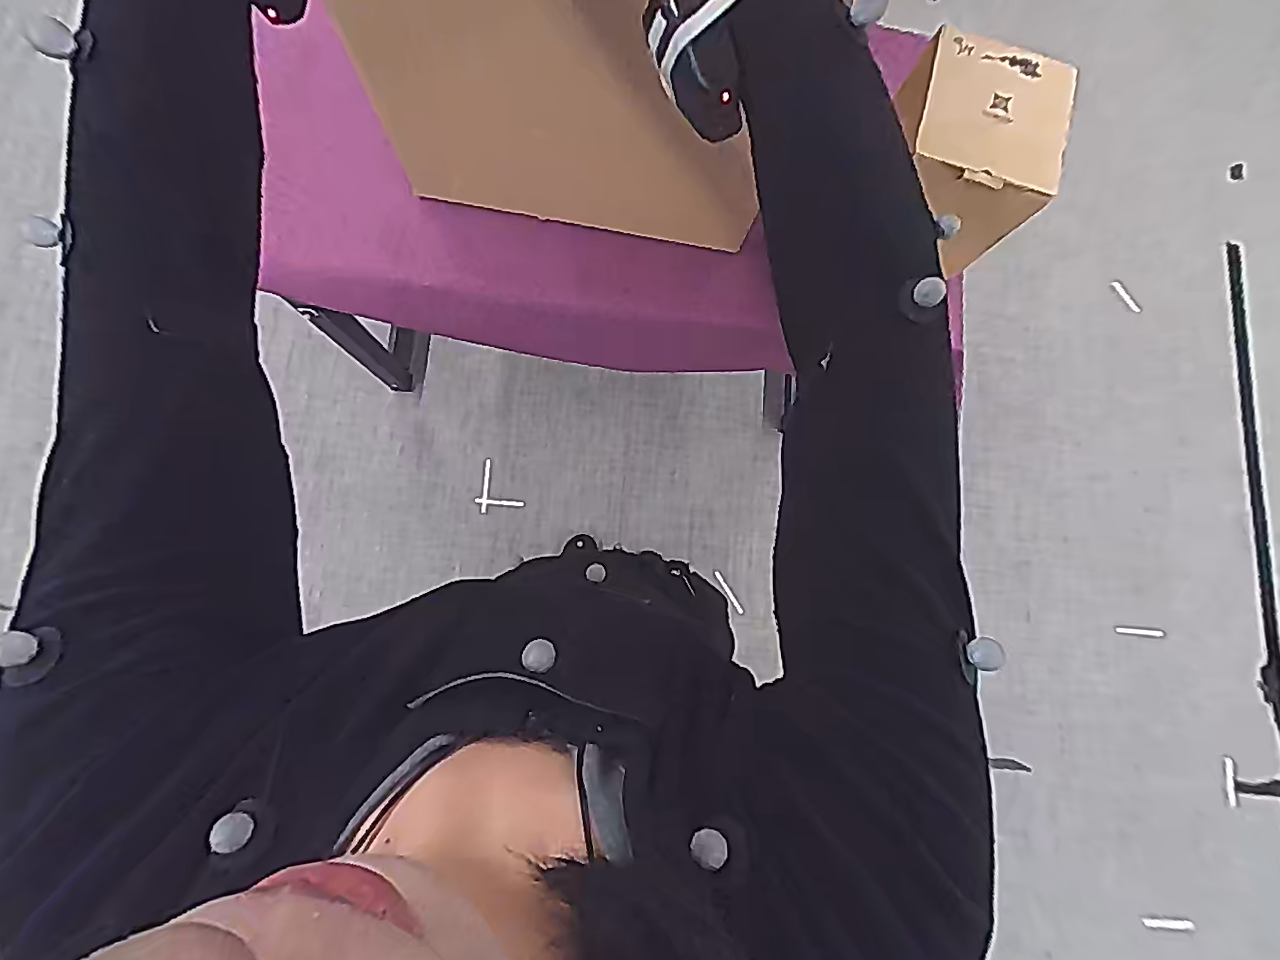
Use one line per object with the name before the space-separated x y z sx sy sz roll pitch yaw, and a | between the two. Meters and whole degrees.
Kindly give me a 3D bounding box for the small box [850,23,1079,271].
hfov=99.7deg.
small box | 0.386 -0.393 0.671 0.168 0.176 0.179 17 81 -3
